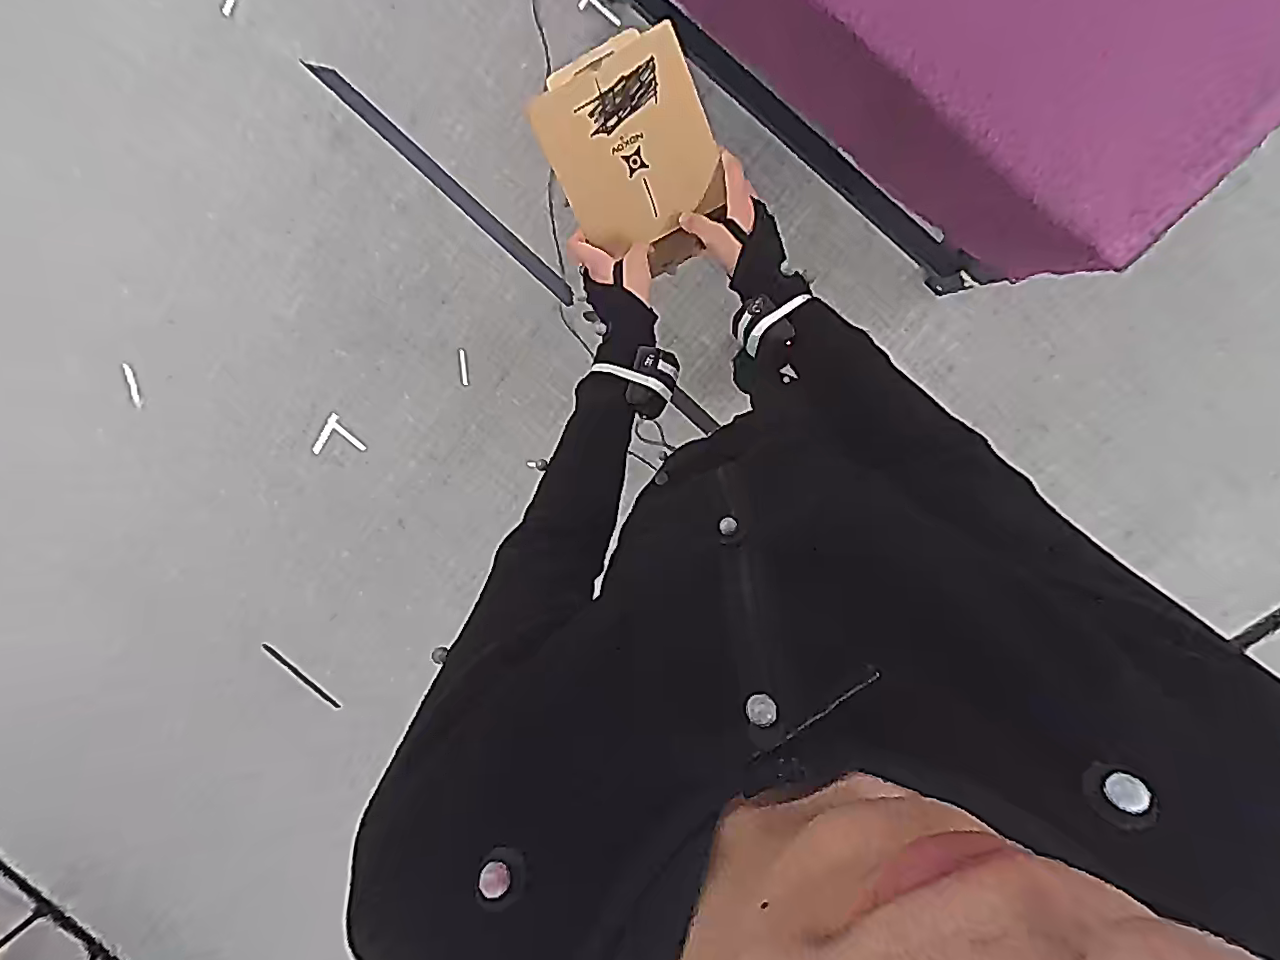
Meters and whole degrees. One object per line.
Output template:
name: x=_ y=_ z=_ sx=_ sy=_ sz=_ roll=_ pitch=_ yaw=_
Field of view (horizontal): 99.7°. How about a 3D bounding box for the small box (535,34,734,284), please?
small box: x=0.000 y=-0.366 z=0.657 sx=0.168 sy=0.176 sz=0.179 roll=-25 pitch=97 yaw=10
